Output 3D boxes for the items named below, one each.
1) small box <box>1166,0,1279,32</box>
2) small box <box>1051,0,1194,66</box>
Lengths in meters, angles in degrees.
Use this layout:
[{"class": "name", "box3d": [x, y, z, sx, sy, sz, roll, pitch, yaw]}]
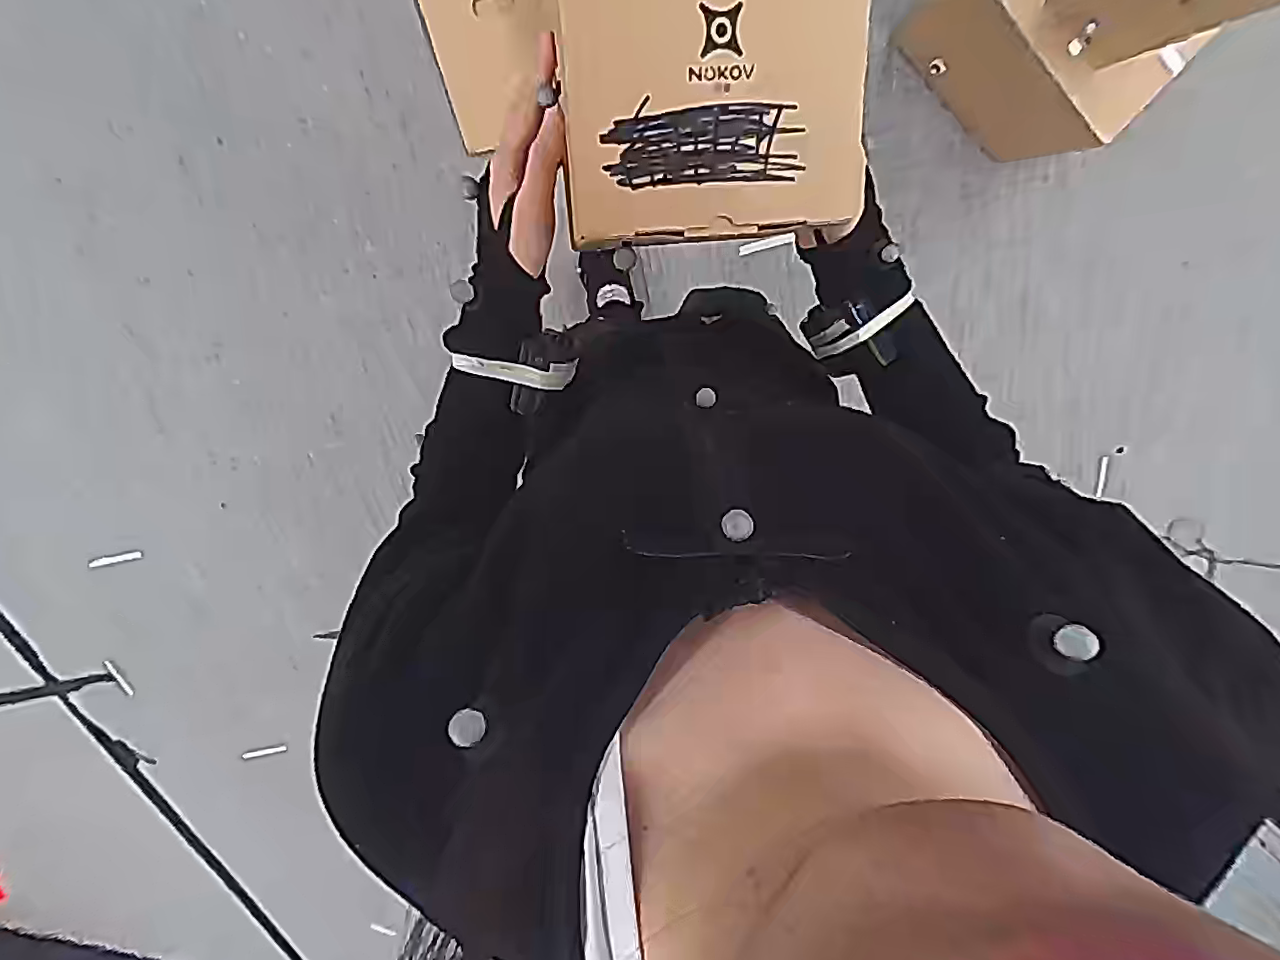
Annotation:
[{"class": "small box", "box3d": [0.831, -0.751, 0.702, 0.168, 0.176, 0.179, 34, 106, -17]}, {"class": "small box", "box3d": [0.817, -0.813, 0.853, 0.168, 0.176, 0.179, 34, 107, -17]}]
